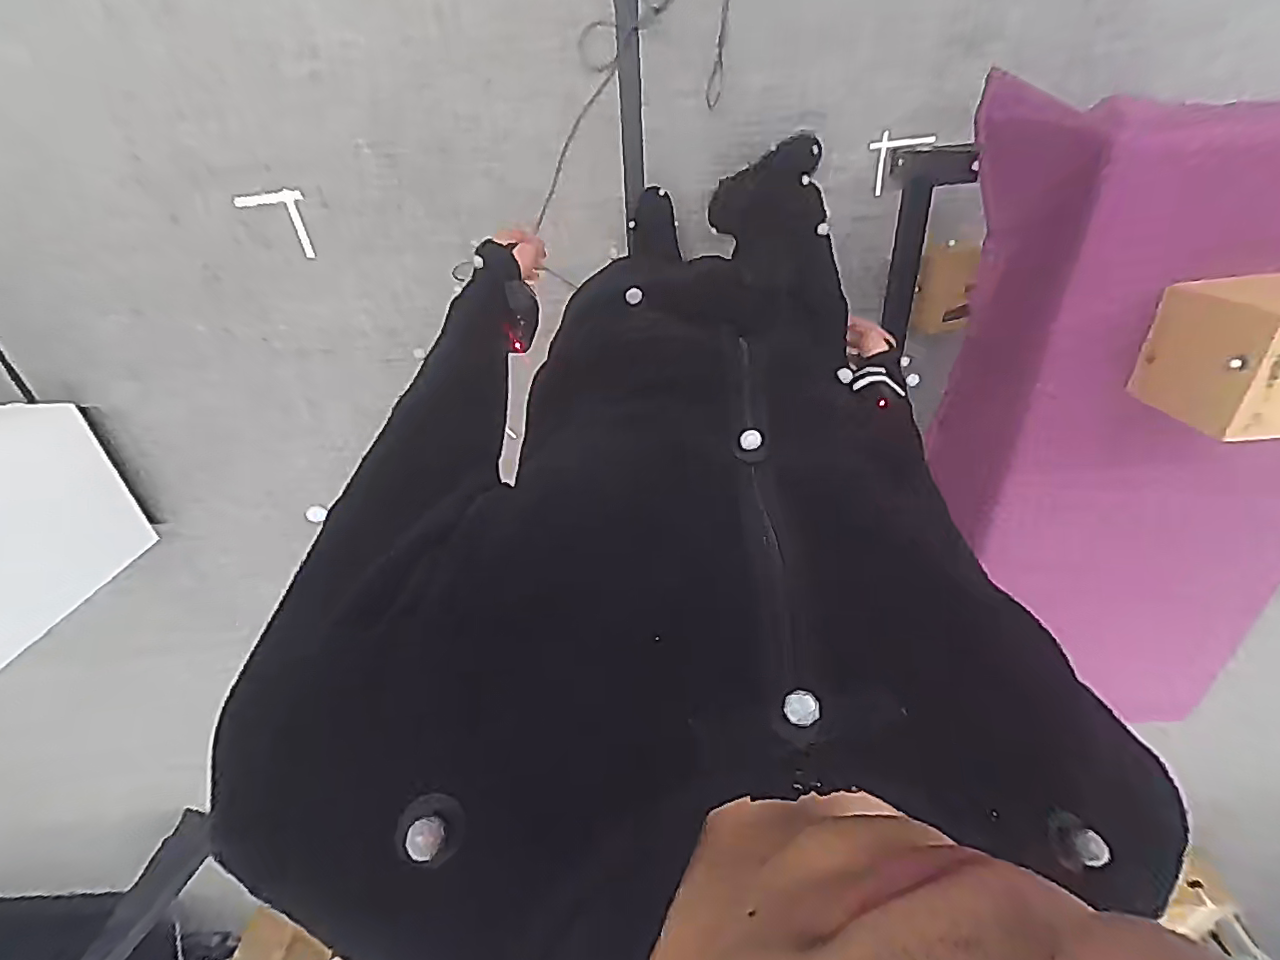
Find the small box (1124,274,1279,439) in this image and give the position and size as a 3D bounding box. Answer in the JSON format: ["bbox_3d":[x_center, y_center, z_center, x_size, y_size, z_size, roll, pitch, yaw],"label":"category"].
[{"bbox_3d":[0.829,-0.172,0.729,0.179,0.176,0.168,-5,121,2],"label":"small box"}]
